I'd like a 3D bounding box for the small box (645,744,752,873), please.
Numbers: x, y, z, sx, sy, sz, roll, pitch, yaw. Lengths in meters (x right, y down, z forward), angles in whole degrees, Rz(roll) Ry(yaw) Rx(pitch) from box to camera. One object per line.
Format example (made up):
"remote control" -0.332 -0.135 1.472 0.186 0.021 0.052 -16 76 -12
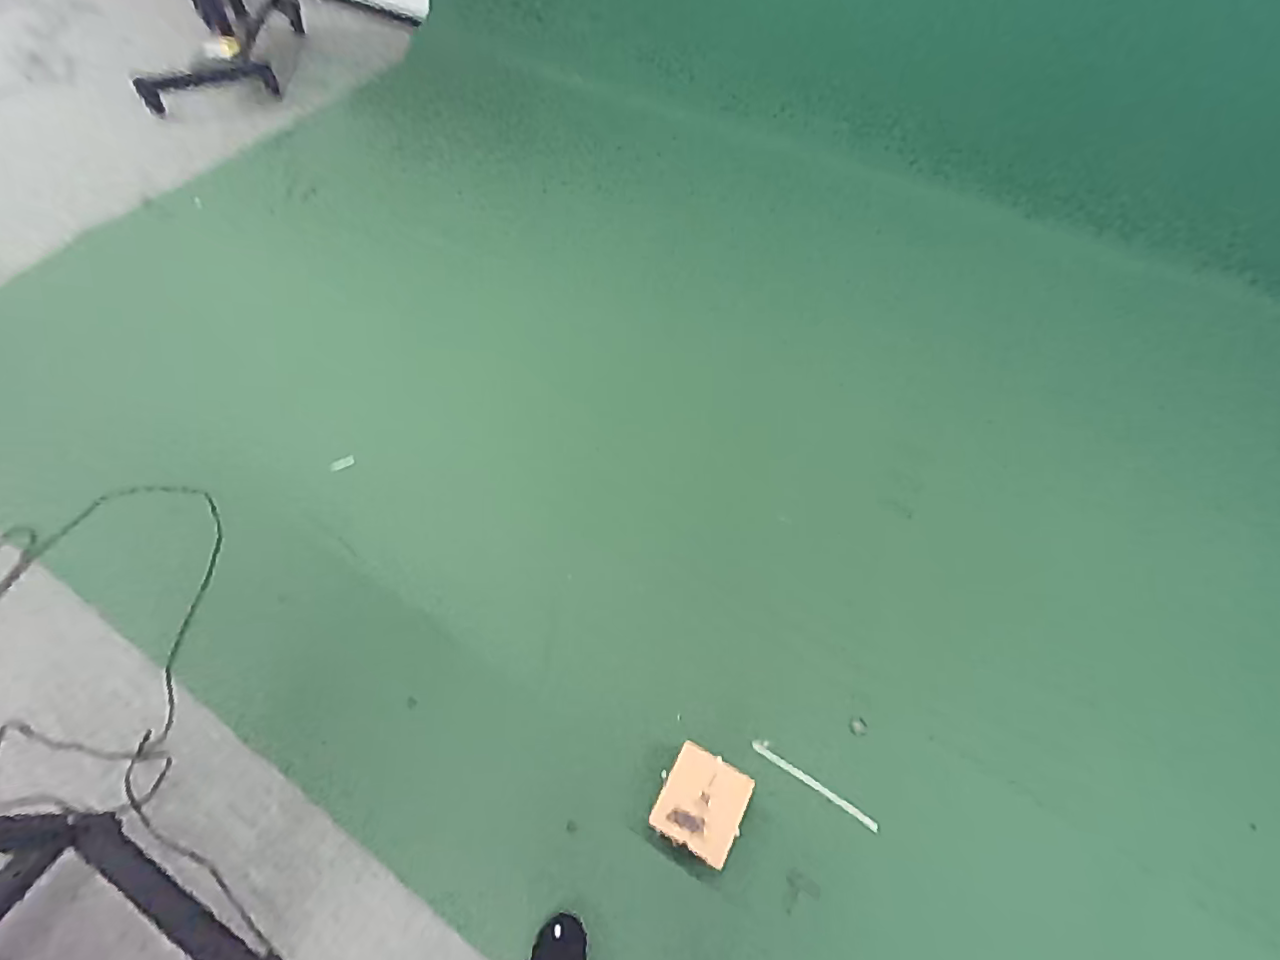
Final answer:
"small box" 0.124 0.711 1.181 0.168 0.176 0.179 27 62 14
